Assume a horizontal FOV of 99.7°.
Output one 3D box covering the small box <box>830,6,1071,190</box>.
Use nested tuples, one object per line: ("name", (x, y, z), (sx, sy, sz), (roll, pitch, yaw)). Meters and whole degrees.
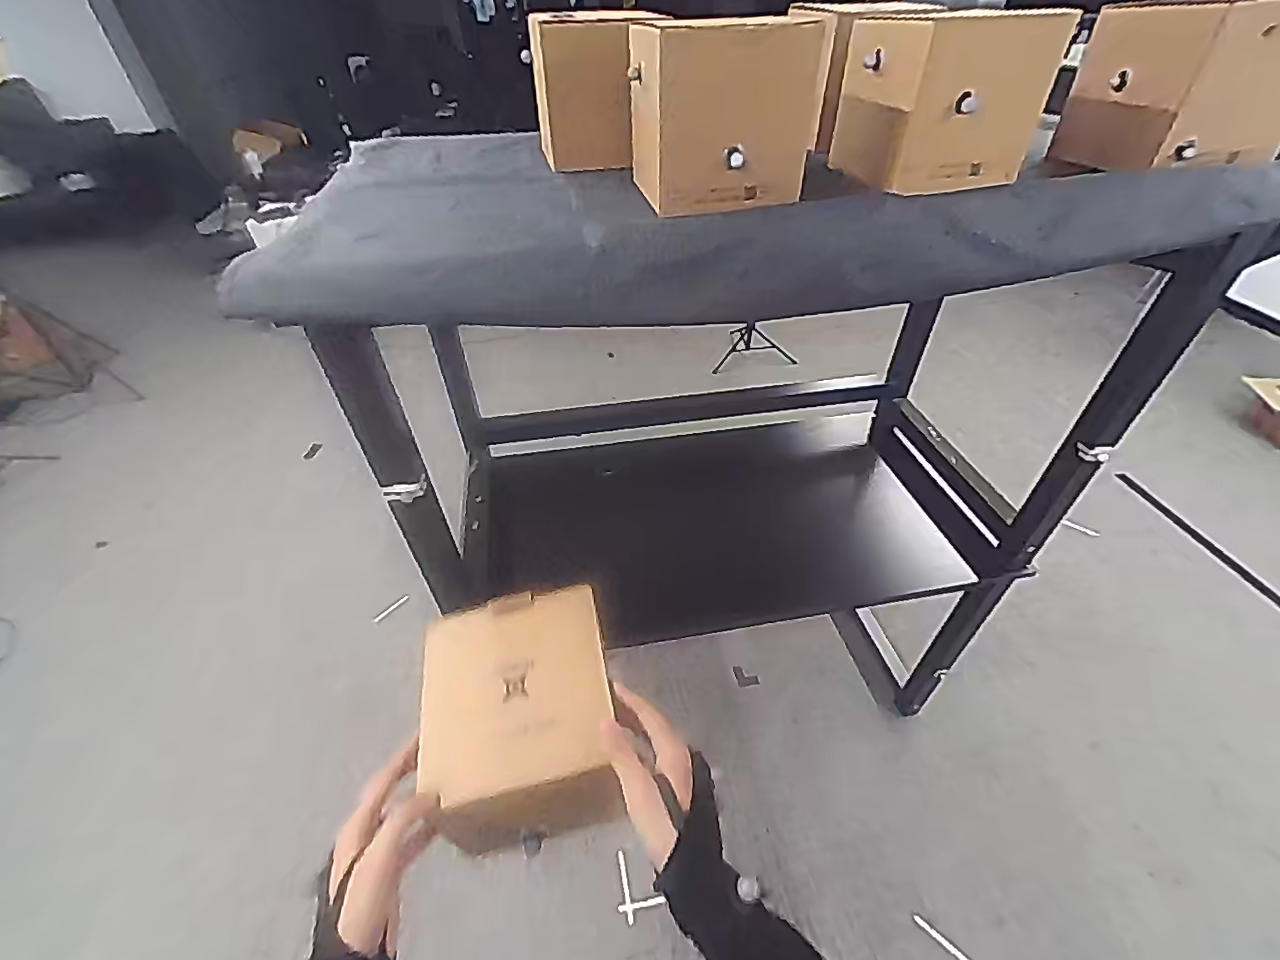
("small box", (0.357, -0.465, 0.665), (0.168, 0.176, 0.179), (-8, 40, -7))

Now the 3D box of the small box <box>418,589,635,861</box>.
("small box", (-0.104, 0.241, 0.539), (0.168, 0.176, 0.179), (-11, 43, -7))

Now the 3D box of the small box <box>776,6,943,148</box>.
("small box", (0.328, -0.634, 0.853), (0.168, 0.176, 0.179), (-8, 42, -7))

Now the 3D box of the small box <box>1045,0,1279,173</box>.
("small box", (0.672, -0.492, 0.679), (0.168, 0.176, 0.179), (-6, 39, -5))
